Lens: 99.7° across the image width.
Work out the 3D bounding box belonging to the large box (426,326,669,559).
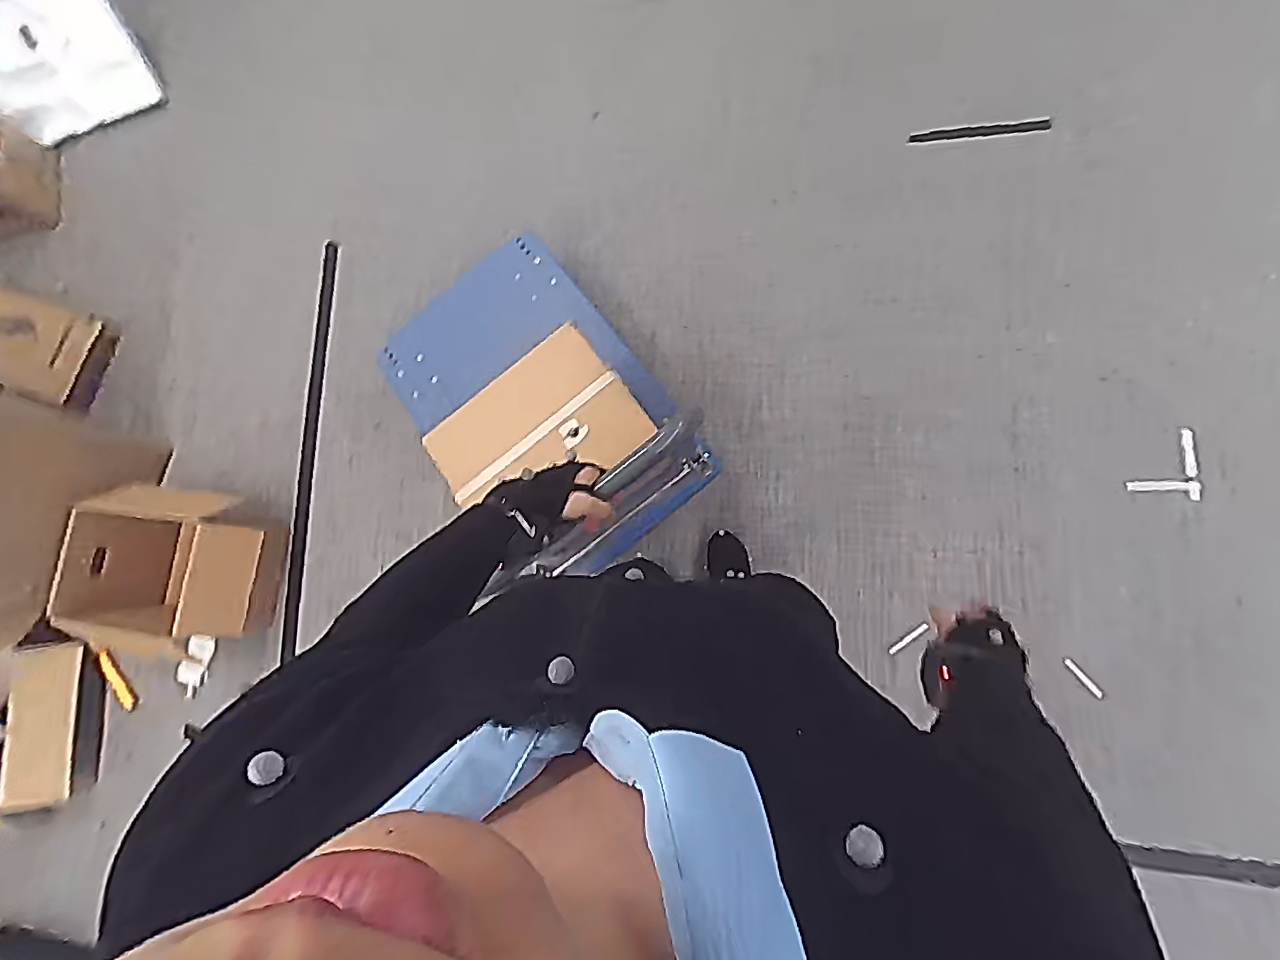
[{"bbox_3d":[-0.189,-0.060,1.243,0.408,0.320,0.320,-38,79,1],"label":"large box"}]
